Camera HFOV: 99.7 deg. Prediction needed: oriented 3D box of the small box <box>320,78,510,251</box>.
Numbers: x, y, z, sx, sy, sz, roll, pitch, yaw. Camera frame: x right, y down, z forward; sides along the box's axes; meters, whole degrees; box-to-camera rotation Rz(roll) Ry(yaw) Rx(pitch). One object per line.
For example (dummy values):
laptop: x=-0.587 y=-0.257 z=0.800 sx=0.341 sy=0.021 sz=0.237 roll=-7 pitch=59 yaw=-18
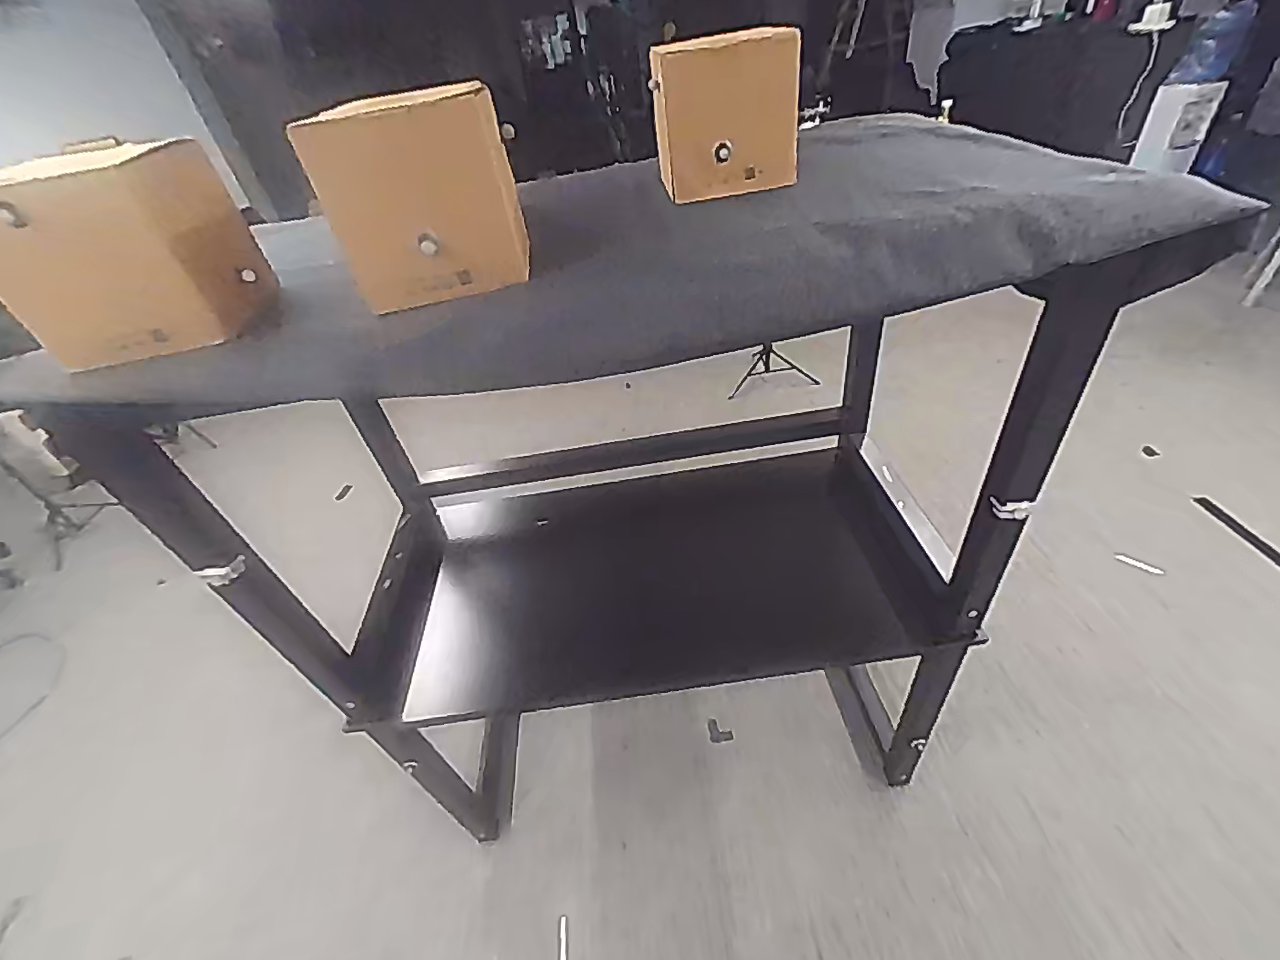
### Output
small box: x=-0.288 y=-0.427 z=0.743 sx=0.168 sy=0.176 sz=0.179 roll=-6 pitch=41 yaw=3

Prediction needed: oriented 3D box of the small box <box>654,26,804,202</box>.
small box: x=0.113 y=-0.495 z=0.735 sx=0.168 sy=0.176 sz=0.179 roll=-9 pitch=41 yaw=2

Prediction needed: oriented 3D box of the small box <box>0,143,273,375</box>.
small box: x=-0.526 y=-0.232 z=0.564 sx=0.168 sy=0.176 sz=0.179 roll=-13 pitch=40 yaw=-4
